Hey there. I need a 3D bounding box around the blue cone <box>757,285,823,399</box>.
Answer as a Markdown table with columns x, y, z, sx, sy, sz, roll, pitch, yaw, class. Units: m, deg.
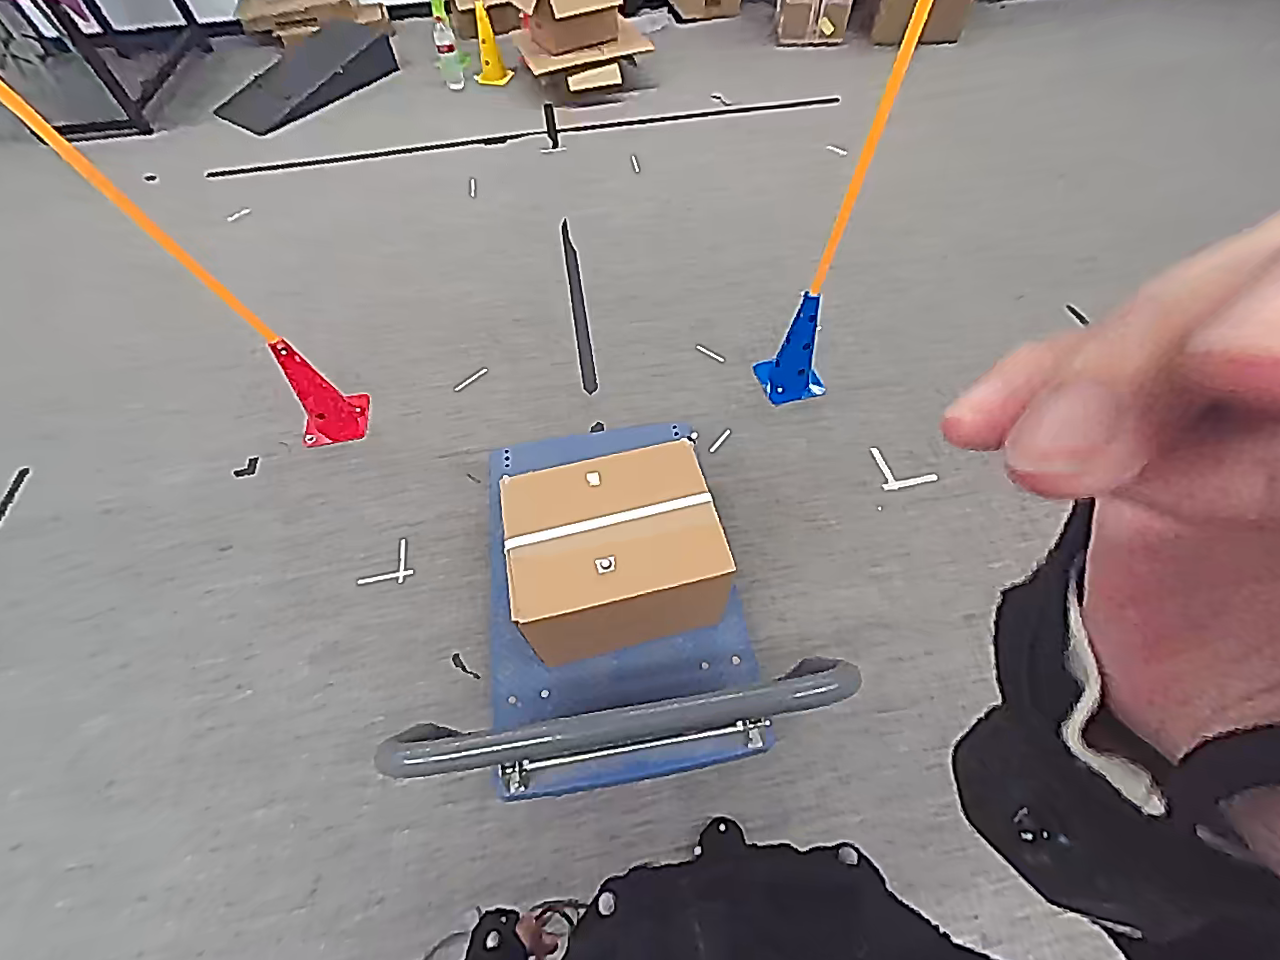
| x | y | z | sx | sy | sz | roll | pitch | yaw | class |
| --- | --- | --- | --- | --- | --- | --- | --- | --- | --- |
| 0.516 | -0.449 | 1.735 | 0.193 | 0.380 | 0.192 | -12 | 57 | -7 | blue cone |
